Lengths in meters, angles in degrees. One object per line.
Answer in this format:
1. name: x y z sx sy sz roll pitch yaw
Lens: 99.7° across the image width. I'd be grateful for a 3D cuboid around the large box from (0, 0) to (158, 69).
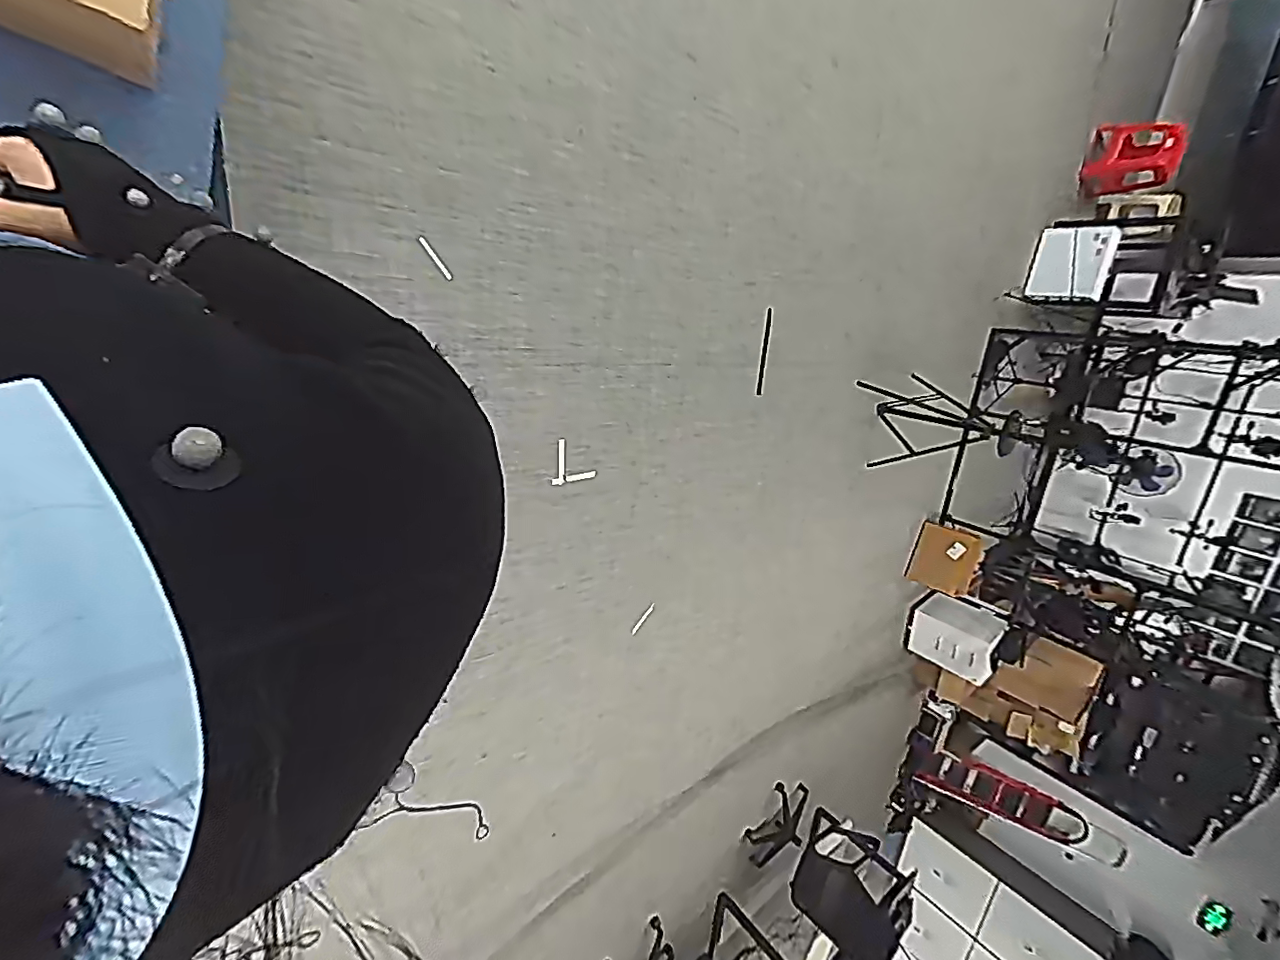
1. large box: -0.821 -0.777 0.621 0.408 0.320 0.320 6 103 -42
